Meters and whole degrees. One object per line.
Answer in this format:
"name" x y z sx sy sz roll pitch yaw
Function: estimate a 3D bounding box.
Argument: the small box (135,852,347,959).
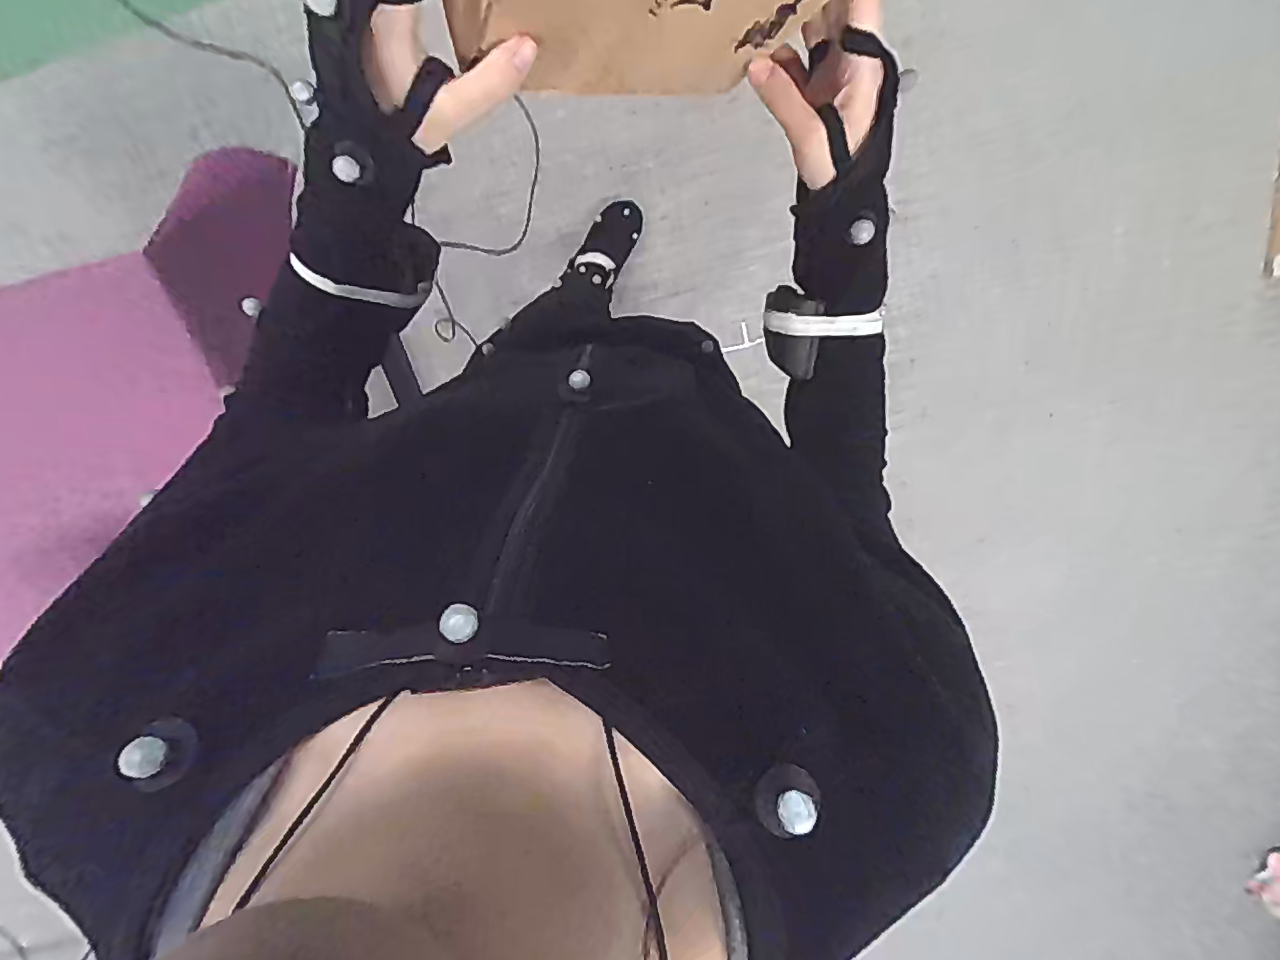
"small box" -0.548 0.645 0.735 0.168 0.176 0.179 -20 109 6

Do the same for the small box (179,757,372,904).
"small box" -0.575 0.594 0.890 0.179 0.176 0.168 -20 109 7
